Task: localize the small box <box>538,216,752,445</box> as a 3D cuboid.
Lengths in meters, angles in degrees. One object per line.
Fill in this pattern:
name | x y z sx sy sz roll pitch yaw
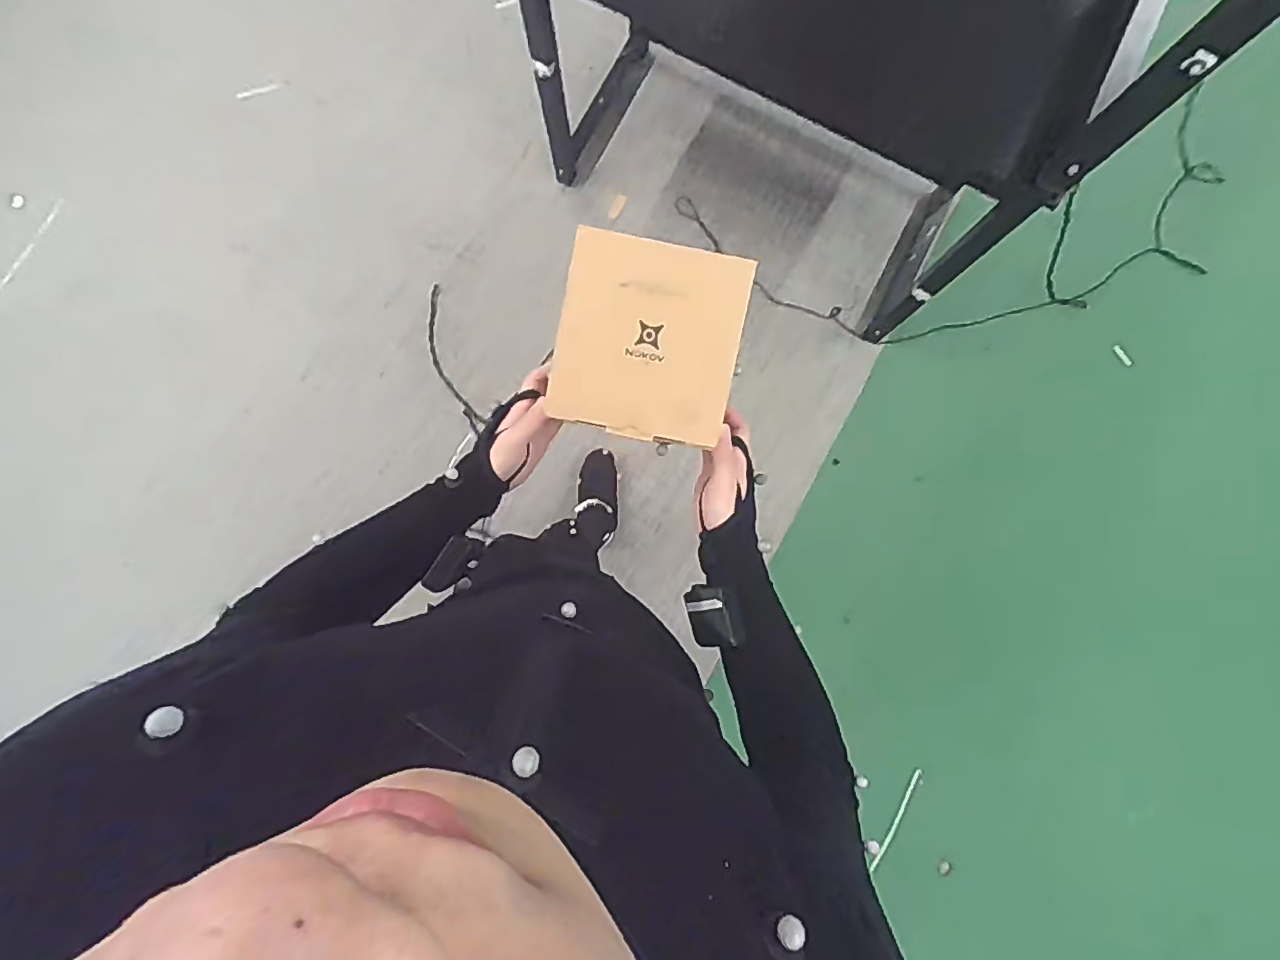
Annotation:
small box | 0.005 -0.139 0.563 0.168 0.176 0.179 12 94 -1
